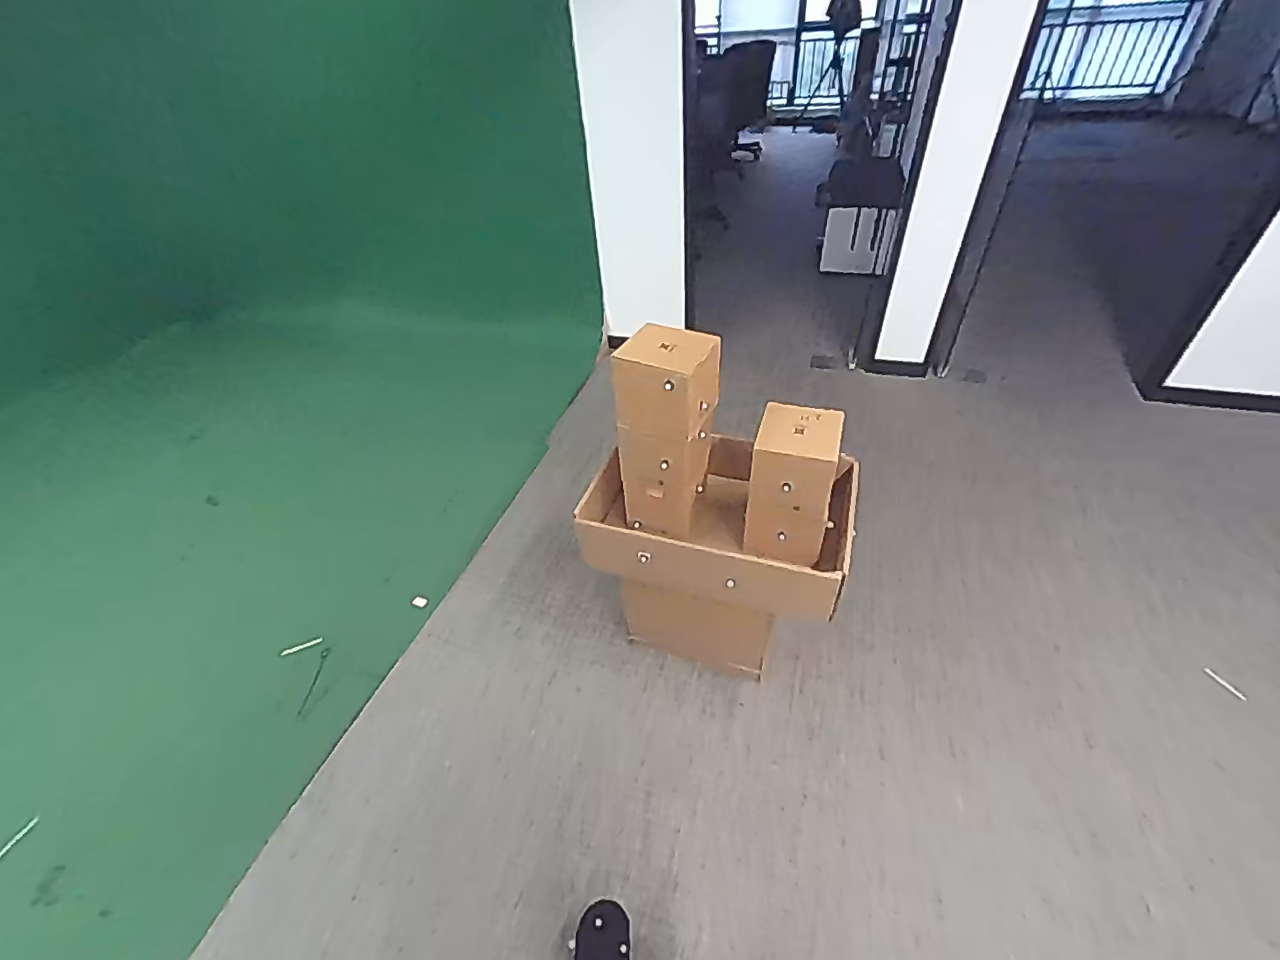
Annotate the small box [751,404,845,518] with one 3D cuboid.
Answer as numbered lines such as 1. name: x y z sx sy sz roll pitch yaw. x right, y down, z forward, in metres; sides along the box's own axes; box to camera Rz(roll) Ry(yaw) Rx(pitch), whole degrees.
1. small box: 0.341 -0.040 1.180 0.168 0.176 0.179 11 44 18

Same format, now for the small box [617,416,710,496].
1. small box: 0.063 -0.089 1.268 0.168 0.176 0.179 16 45 20

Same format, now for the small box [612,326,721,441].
1. small box: 0.057 -0.206 1.155 0.179 0.176 0.168 19 46 21
